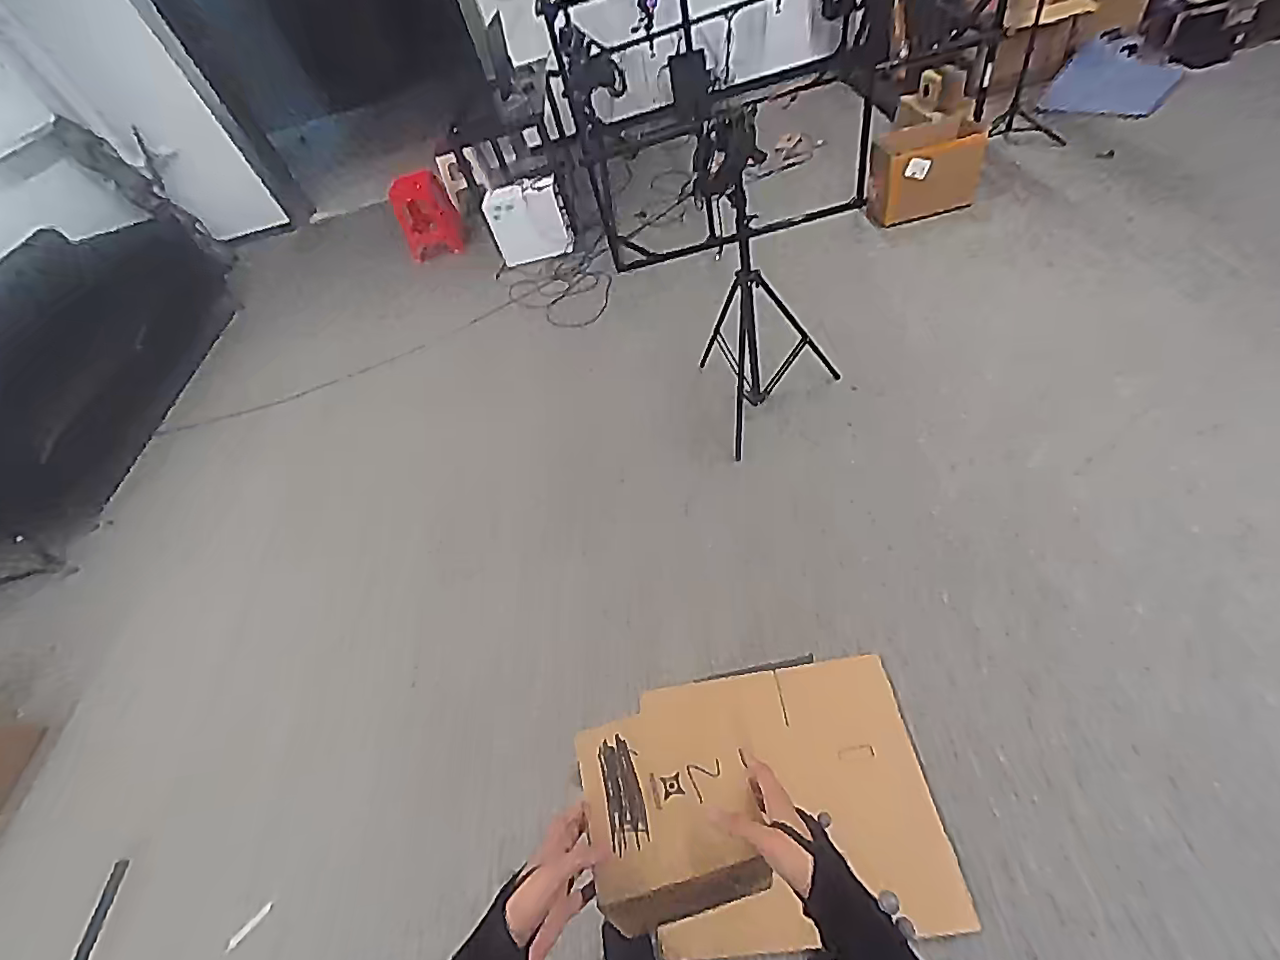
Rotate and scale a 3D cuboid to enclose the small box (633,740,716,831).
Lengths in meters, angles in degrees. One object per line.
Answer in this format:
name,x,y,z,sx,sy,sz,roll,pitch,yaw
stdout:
small box,0.090,0.771,1.359,0.179,0.176,0.168,-13,49,8
